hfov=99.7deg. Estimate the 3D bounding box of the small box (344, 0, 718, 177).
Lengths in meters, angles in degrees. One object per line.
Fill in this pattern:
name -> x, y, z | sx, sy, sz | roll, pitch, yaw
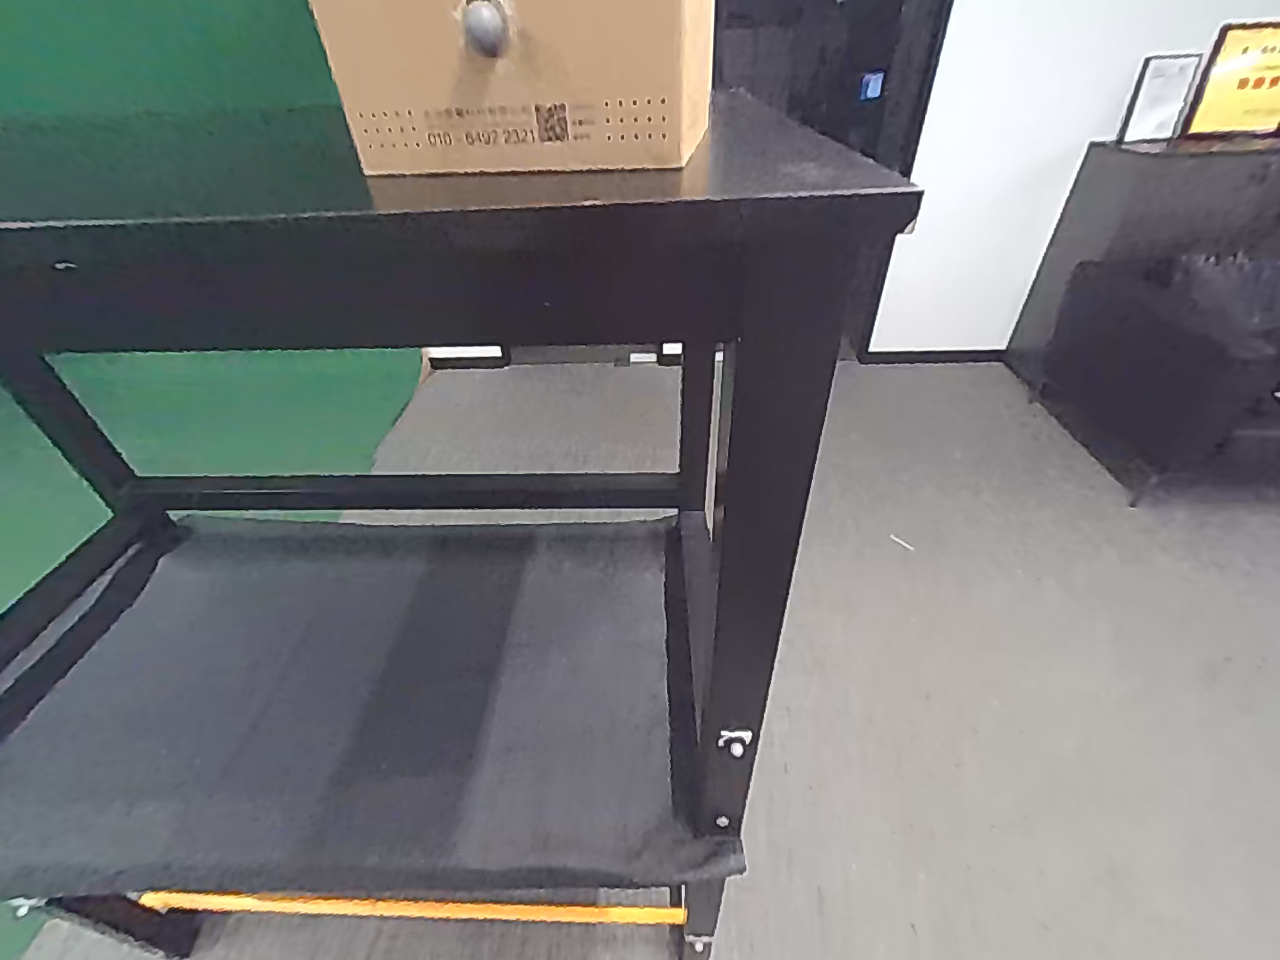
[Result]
small box -> -0.045, -0.268, 0.282 | 0.168, 0.176, 0.179 | 4, 39, 9
